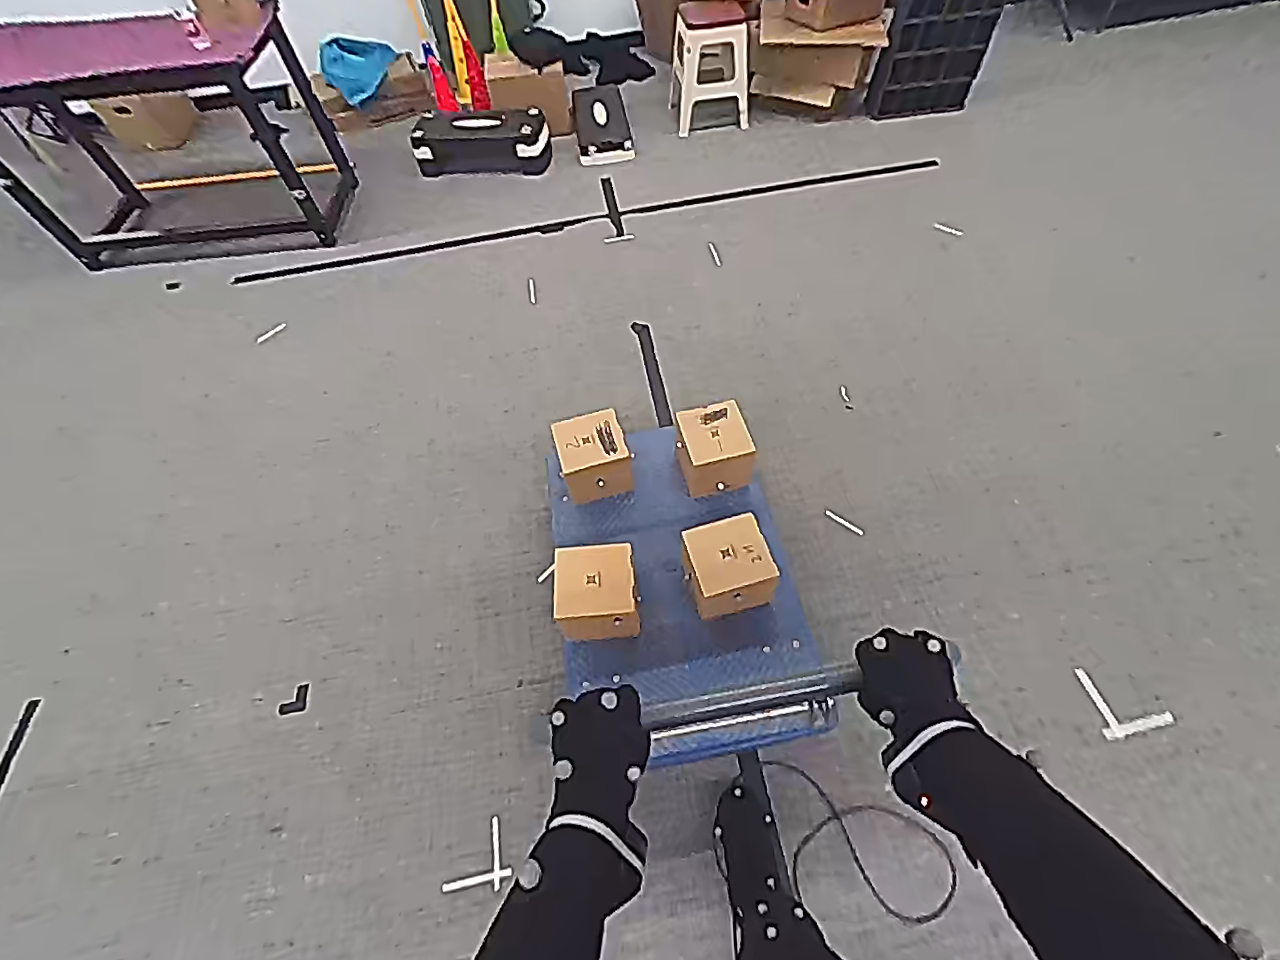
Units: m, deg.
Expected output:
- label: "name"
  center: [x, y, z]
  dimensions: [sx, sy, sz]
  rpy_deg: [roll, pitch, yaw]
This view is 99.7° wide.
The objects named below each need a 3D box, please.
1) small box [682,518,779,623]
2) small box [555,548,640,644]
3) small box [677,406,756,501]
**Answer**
- label: "small box"
  center: [0.206, 0.217, 1.270]
  dimensions: [0.179, 0.176, 0.168]
  rpy_deg: [-15, 58, -5]
- label: "small box"
  center: [-0.095, 0.274, 1.256]
  dimensions: [0.179, 0.176, 0.168]
  rpy_deg: [-4, 57, -1]
- label: "small box"
  center: [0.197, -0.068, 1.451]
  dimensions: [0.168, 0.176, 0.179]
  rpy_deg: [-13, 59, -4]
